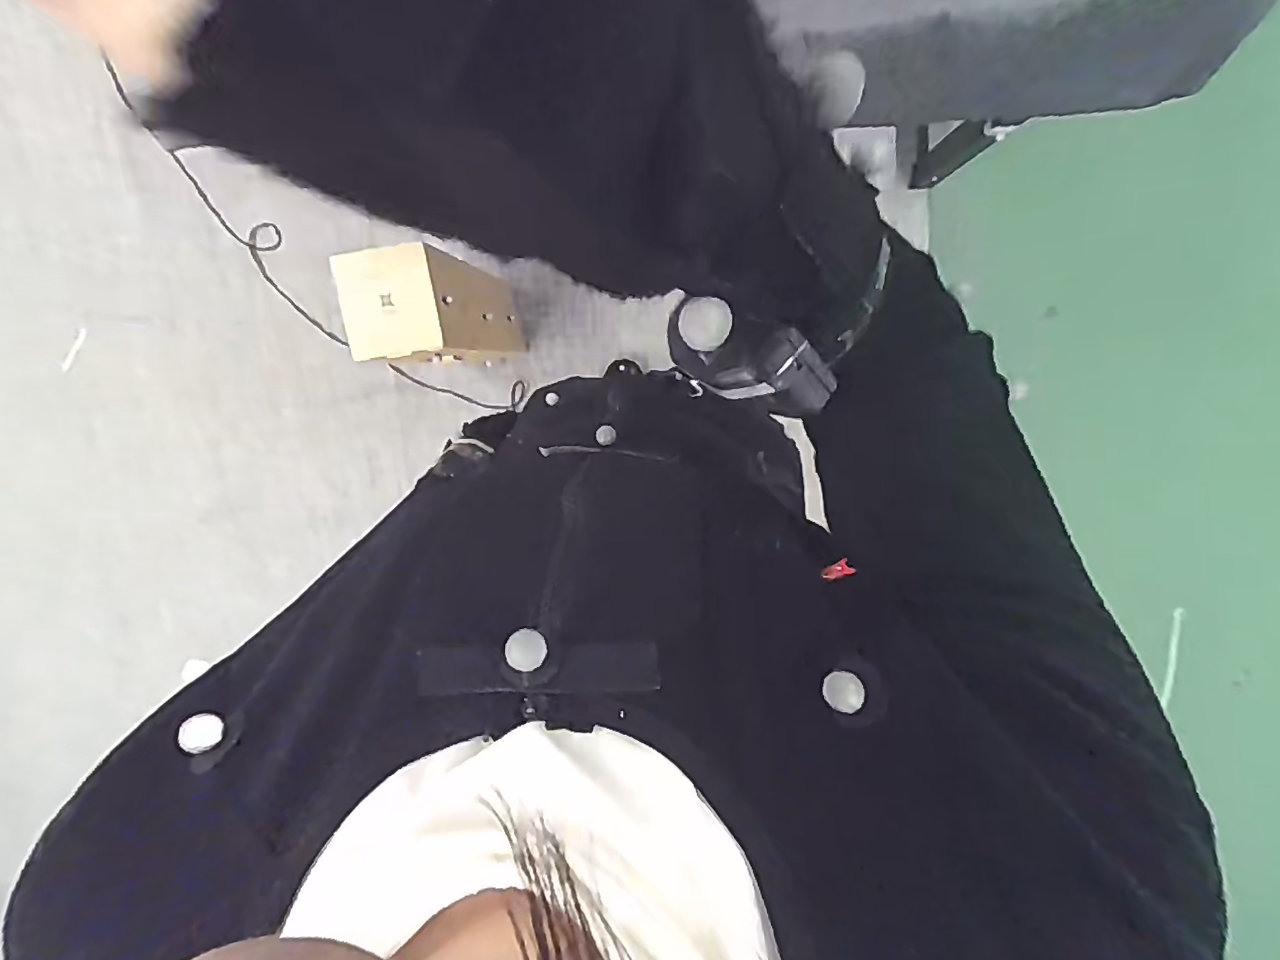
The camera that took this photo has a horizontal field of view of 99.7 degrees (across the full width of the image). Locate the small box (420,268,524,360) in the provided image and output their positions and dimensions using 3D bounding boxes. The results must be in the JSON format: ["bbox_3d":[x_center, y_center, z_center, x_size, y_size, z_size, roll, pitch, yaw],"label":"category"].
[{"bbox_3d":[-0.394,-0.389,1.295,0.168,0.176,0.179,-10,102,6],"label":"small box"}]
